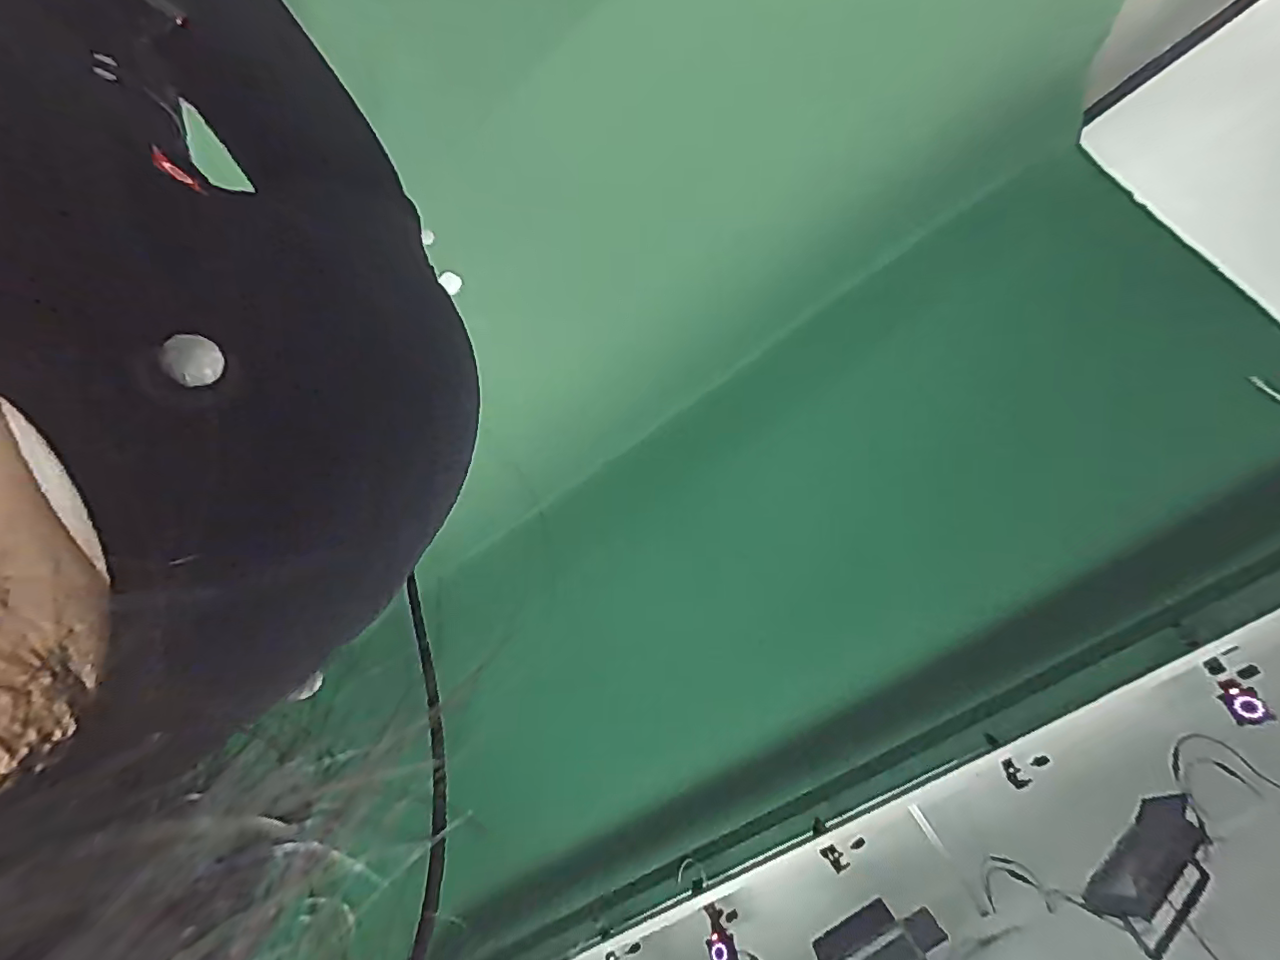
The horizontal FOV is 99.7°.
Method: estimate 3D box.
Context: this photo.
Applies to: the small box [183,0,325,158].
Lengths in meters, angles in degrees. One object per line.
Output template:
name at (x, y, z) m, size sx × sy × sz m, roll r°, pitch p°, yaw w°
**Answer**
small box at (-0.728, -0.754, 1.020) m, size 0.179 × 0.176 × 0.168 m, roll -15°, pitch 157°, yaw -44°
